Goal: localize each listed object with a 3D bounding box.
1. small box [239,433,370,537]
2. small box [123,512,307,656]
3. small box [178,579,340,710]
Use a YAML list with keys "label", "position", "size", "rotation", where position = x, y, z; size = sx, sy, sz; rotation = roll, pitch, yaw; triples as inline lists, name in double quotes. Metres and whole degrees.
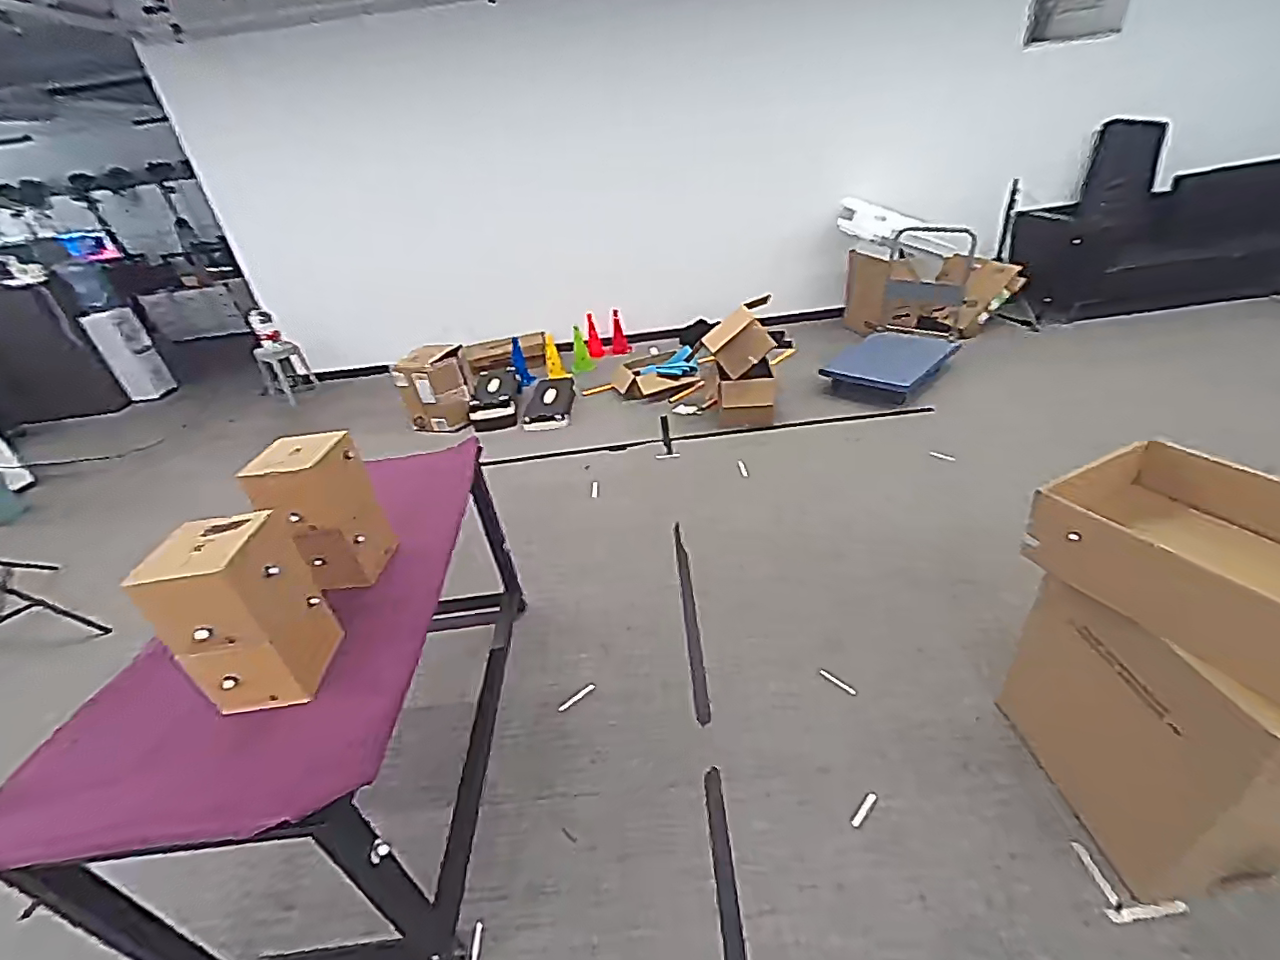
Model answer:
- label: "small box"
  position: [-0.746, 0.012, 1.231]
  size: [0.168, 0.176, 0.179]
  rotation: [-7, 32, 4]
- label: "small box"
  position: [-0.733, 0.182, 0.964]
  size: [0.168, 0.176, 0.179]
  rotation: [-9, 32, -1]
- label: "small box"
  position: [-0.719, 0.322, 1.049]
  size: [0.168, 0.176, 0.179]
  rotation: [-9, 31, -1]
